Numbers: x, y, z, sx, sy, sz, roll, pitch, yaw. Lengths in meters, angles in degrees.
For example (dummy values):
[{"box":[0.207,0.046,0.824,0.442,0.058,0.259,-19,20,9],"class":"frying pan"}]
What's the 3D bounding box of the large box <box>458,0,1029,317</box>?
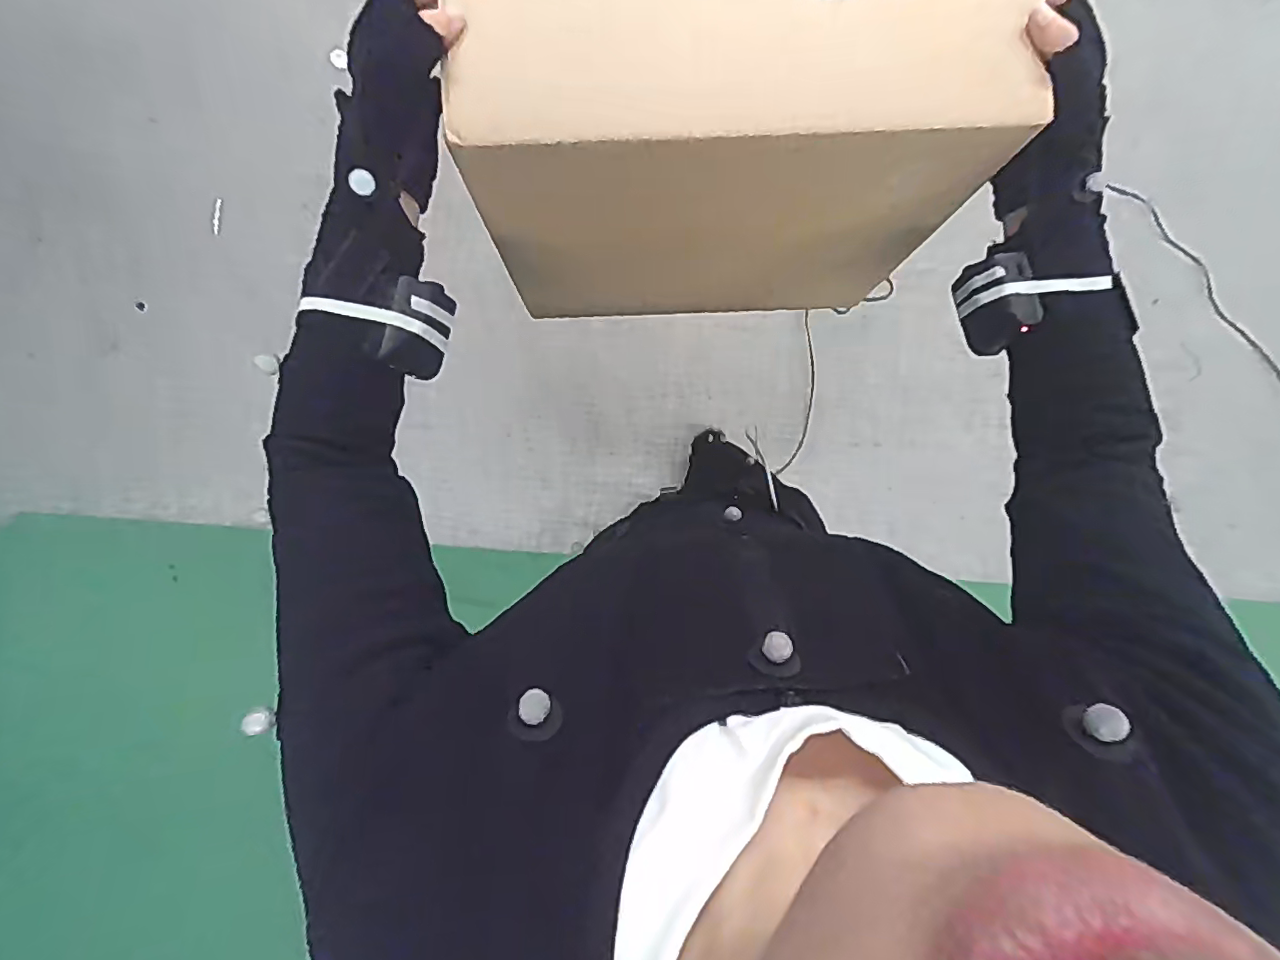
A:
[{"box":[0.061,-0.374,0.533,0.408,0.320,0.320,-3,85,-2],"class":"large box"}]
